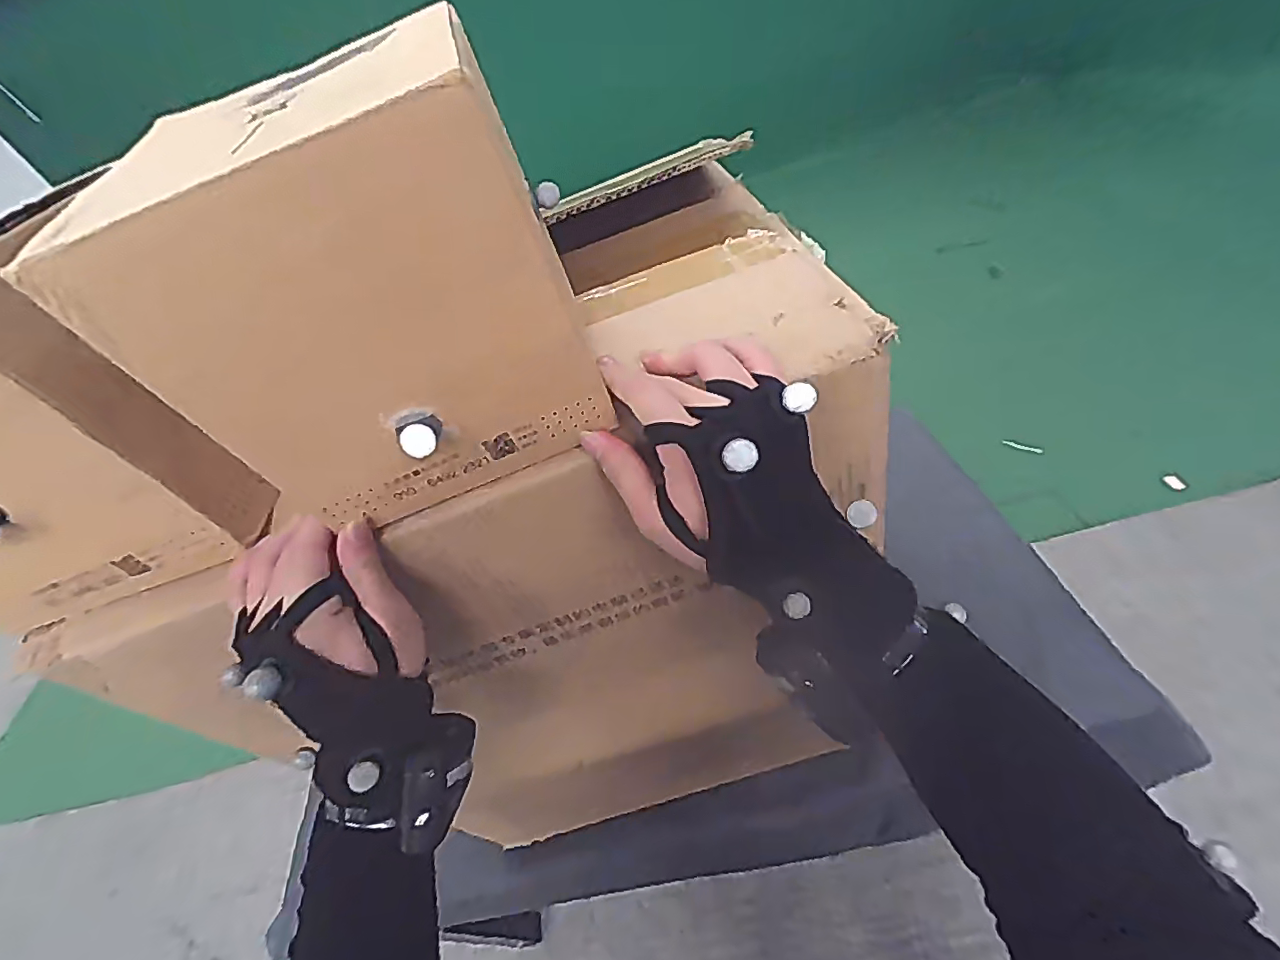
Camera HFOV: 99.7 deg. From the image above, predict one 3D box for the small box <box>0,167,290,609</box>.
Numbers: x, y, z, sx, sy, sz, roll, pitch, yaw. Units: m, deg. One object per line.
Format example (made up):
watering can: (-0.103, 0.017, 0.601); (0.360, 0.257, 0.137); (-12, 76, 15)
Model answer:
small box: (-0.328, -0.044, 0.321); (0.168, 0.176, 0.179); (-19, 46, 5)

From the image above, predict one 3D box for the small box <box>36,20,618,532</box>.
small box: (-0.125, -0.104, 0.291); (0.168, 0.176, 0.179); (-22, 49, 2)
